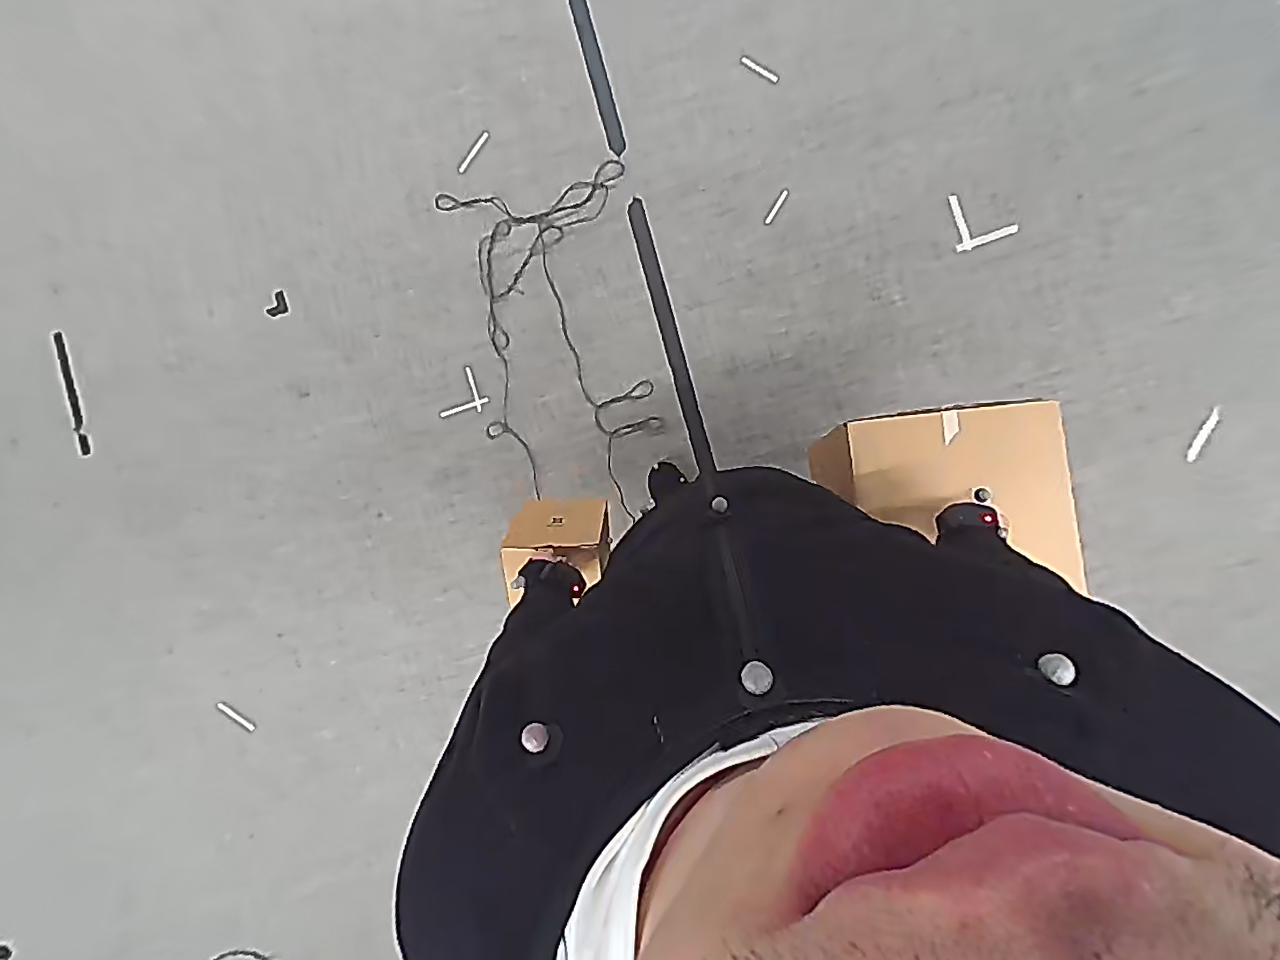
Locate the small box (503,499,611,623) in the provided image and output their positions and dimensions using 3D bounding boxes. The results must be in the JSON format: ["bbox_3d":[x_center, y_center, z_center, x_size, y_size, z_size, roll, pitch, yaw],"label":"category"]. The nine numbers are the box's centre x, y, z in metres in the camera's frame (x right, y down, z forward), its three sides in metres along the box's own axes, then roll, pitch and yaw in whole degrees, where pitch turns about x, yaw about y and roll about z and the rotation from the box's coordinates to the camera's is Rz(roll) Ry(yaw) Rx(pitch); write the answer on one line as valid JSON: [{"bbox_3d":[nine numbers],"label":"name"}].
[{"bbox_3d":[-0.143,0.151,1.003,0.168,0.179,0.176,-1,114,1],"label":"small box"}]
